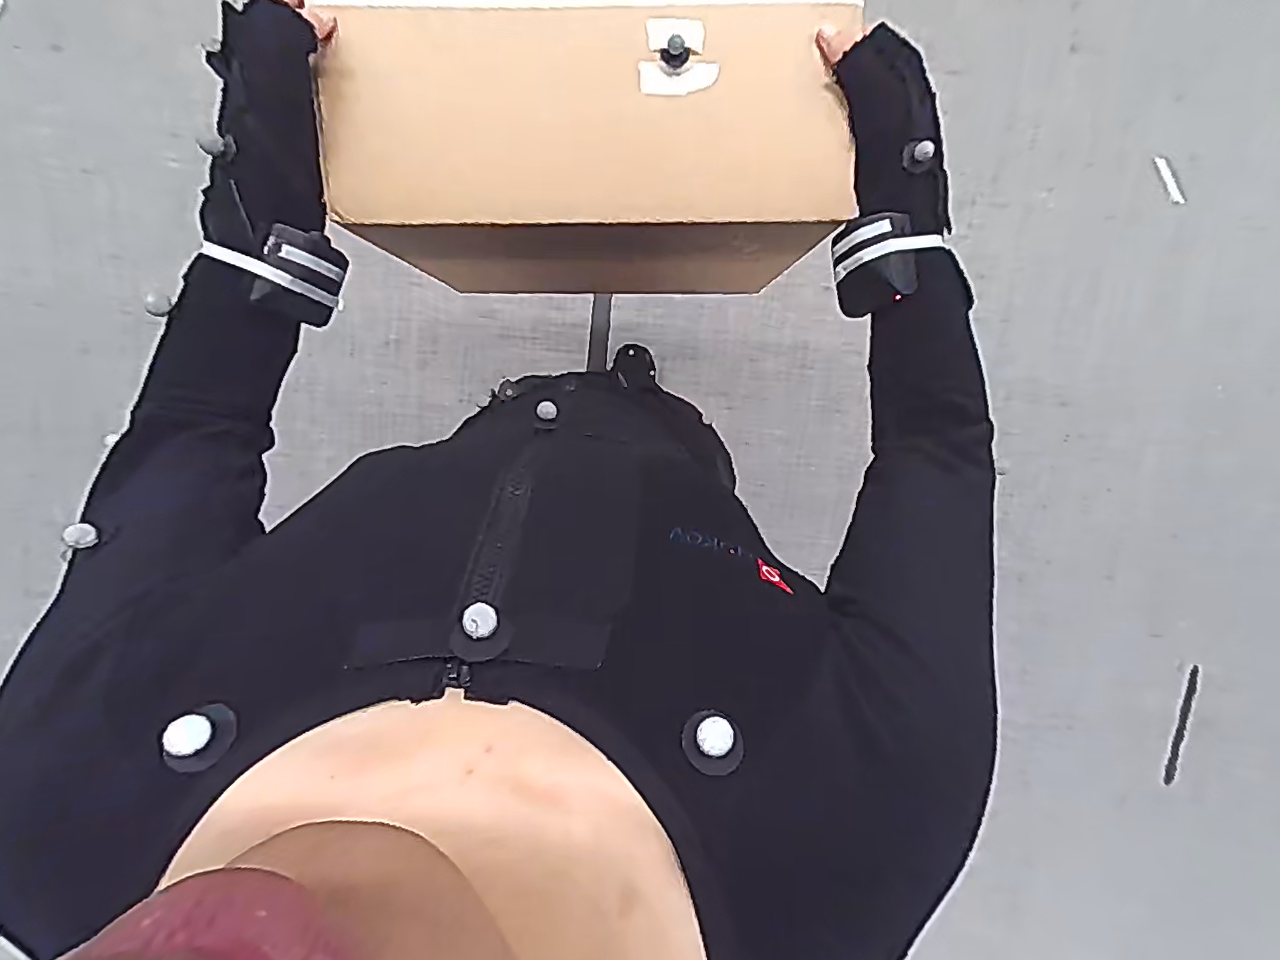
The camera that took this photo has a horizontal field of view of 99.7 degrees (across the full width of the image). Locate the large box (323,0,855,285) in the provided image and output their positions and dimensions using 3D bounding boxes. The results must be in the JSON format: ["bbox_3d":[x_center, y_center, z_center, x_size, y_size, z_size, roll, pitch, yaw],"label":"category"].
[{"bbox_3d":[-0.040,-0.391,0.548,0.408,0.320,0.320,-1,100,-1],"label":"large box"}]
